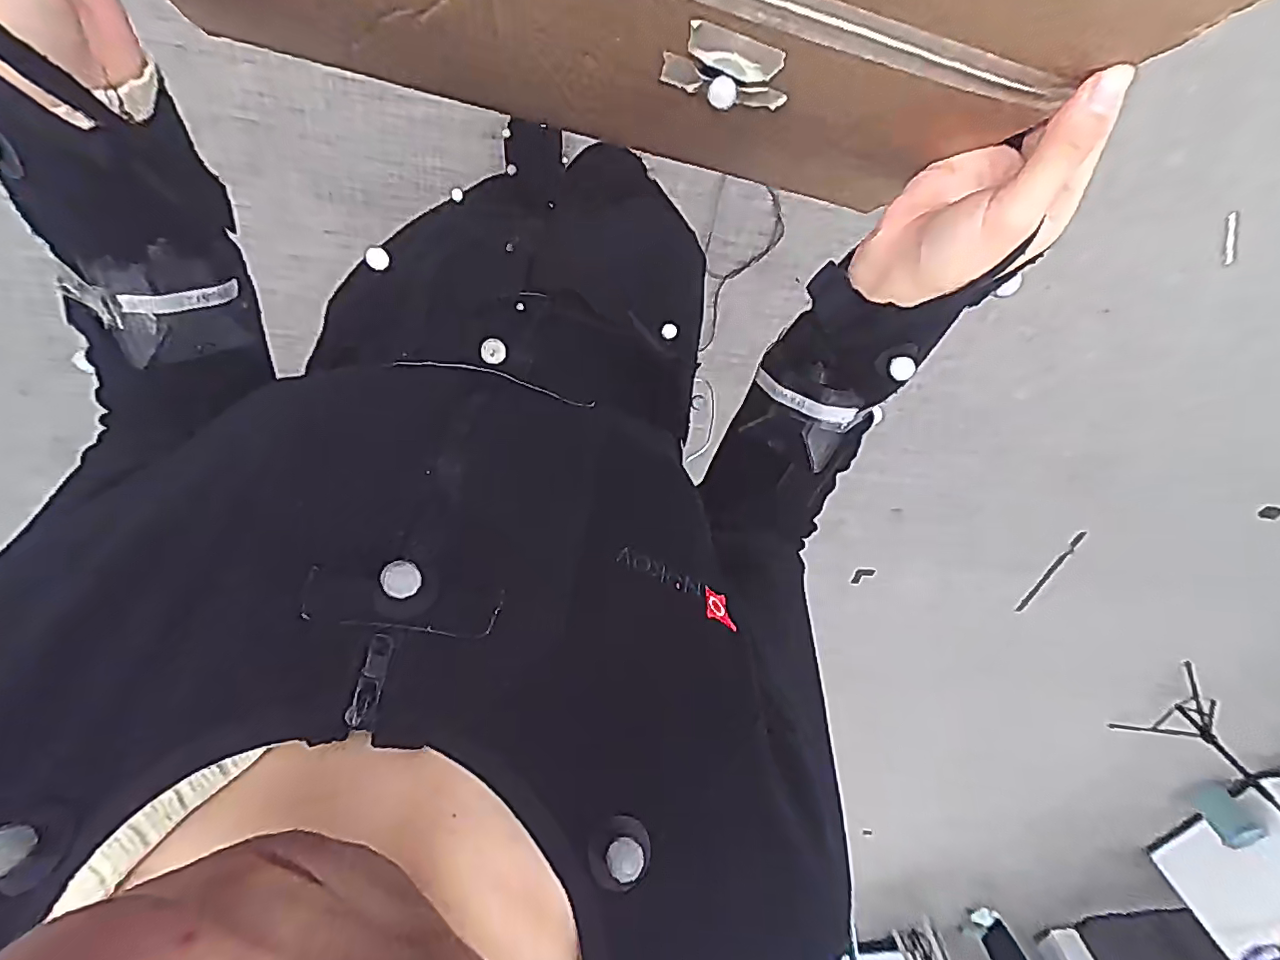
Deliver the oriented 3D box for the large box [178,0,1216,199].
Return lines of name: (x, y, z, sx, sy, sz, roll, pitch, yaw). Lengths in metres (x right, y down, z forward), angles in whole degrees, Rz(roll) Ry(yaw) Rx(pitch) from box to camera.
large box: (0.005, -0.339, 0.165, 0.408, 0.320, 0.320, 8, 100, -10)
